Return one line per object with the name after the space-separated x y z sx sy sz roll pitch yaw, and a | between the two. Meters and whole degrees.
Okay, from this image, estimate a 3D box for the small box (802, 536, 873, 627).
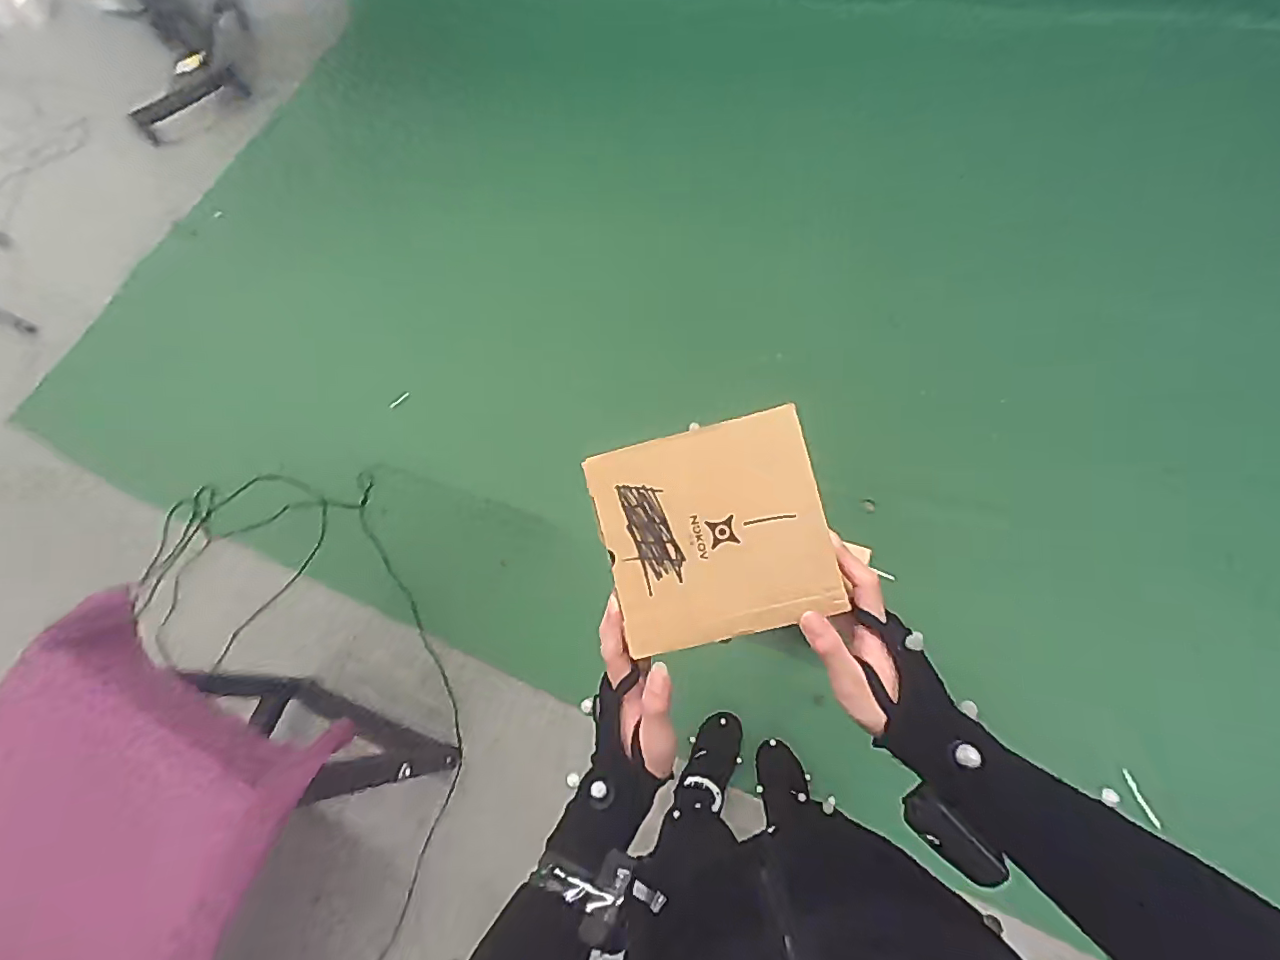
0.423 0.236 1.271 0.179 0.176 0.168 16 72 17 | small box

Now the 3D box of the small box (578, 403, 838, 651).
0.061 0.043 0.504 0.179 0.176 0.168 -15 86 6 | small box

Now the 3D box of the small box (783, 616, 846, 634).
0.452 0.297 1.420 0.179 0.176 0.168 15 71 16 | small box
